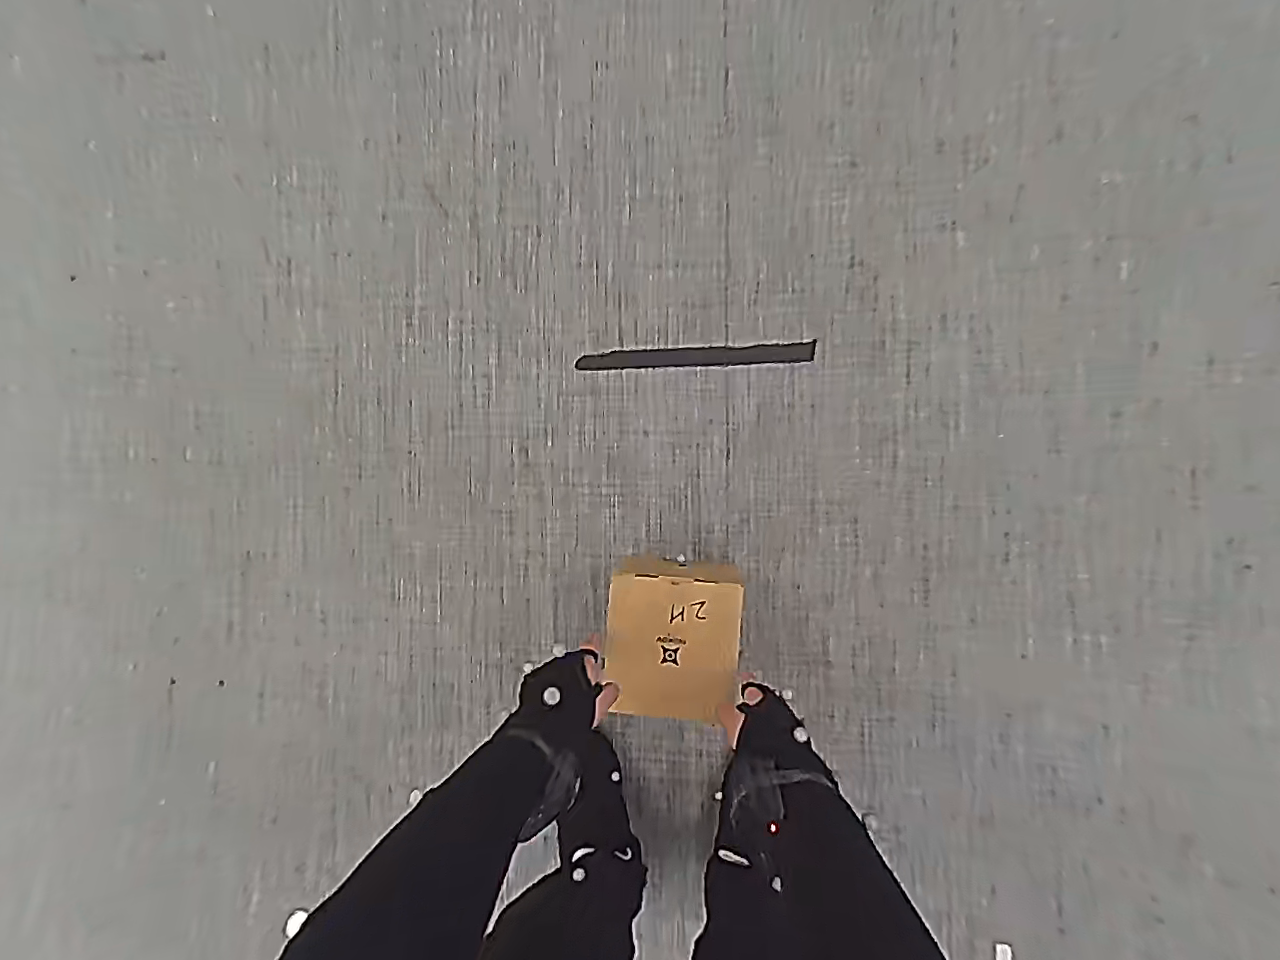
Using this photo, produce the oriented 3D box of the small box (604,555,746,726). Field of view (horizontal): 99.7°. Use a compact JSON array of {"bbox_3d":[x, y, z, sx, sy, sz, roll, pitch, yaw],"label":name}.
[{"bbox_3d":[0.052,0.206,0.738,0.168,0.176,0.179,4,89,6],"label":"small box"}]
